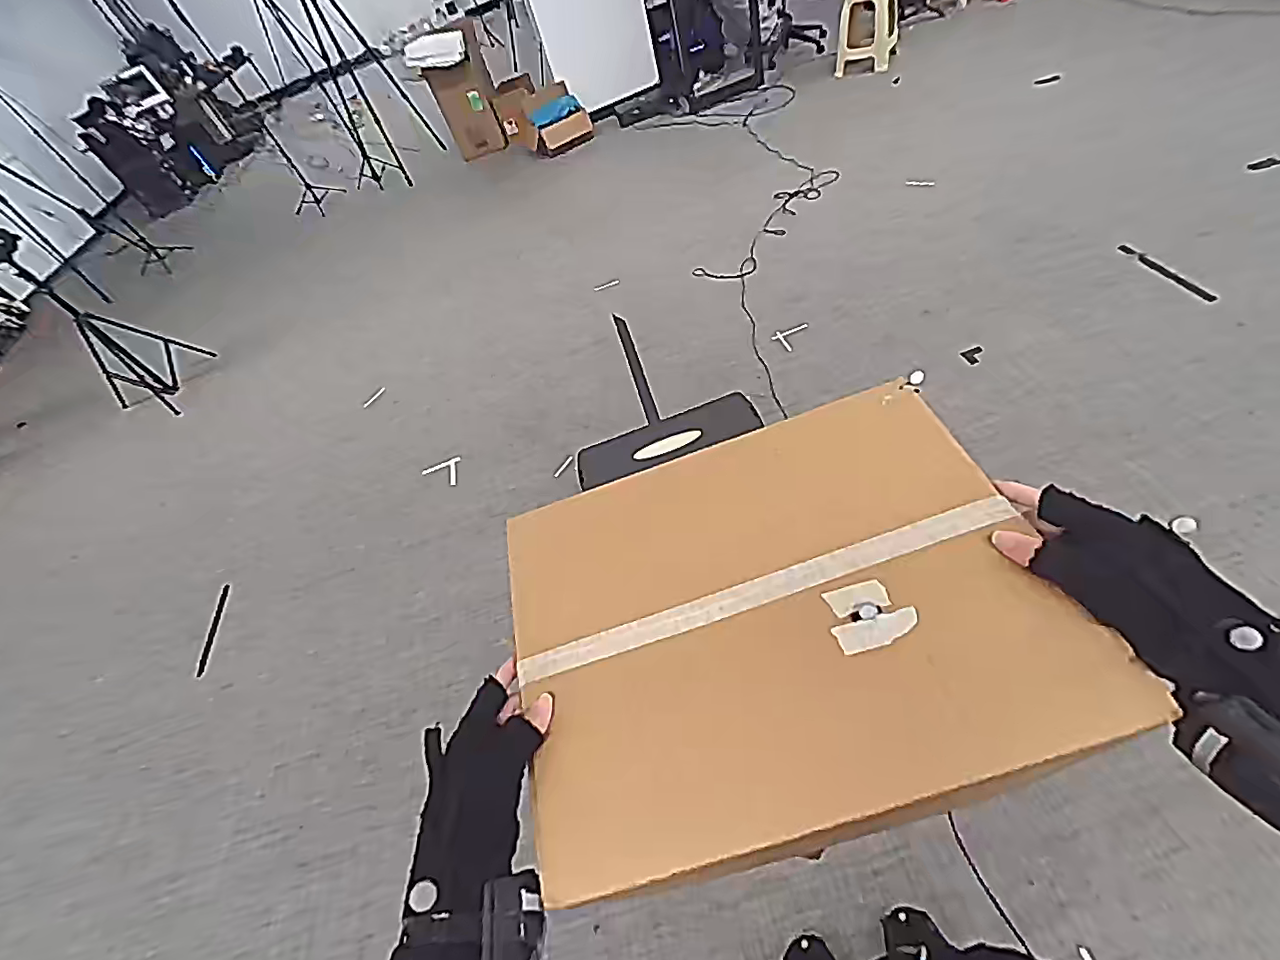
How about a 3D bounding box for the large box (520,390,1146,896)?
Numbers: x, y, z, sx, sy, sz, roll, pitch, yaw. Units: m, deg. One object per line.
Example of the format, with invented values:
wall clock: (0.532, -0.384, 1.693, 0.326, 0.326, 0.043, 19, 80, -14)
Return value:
large box: (0.135, 0.179, 0.555, 0.408, 0.320, 0.320, -20, 52, 3)
